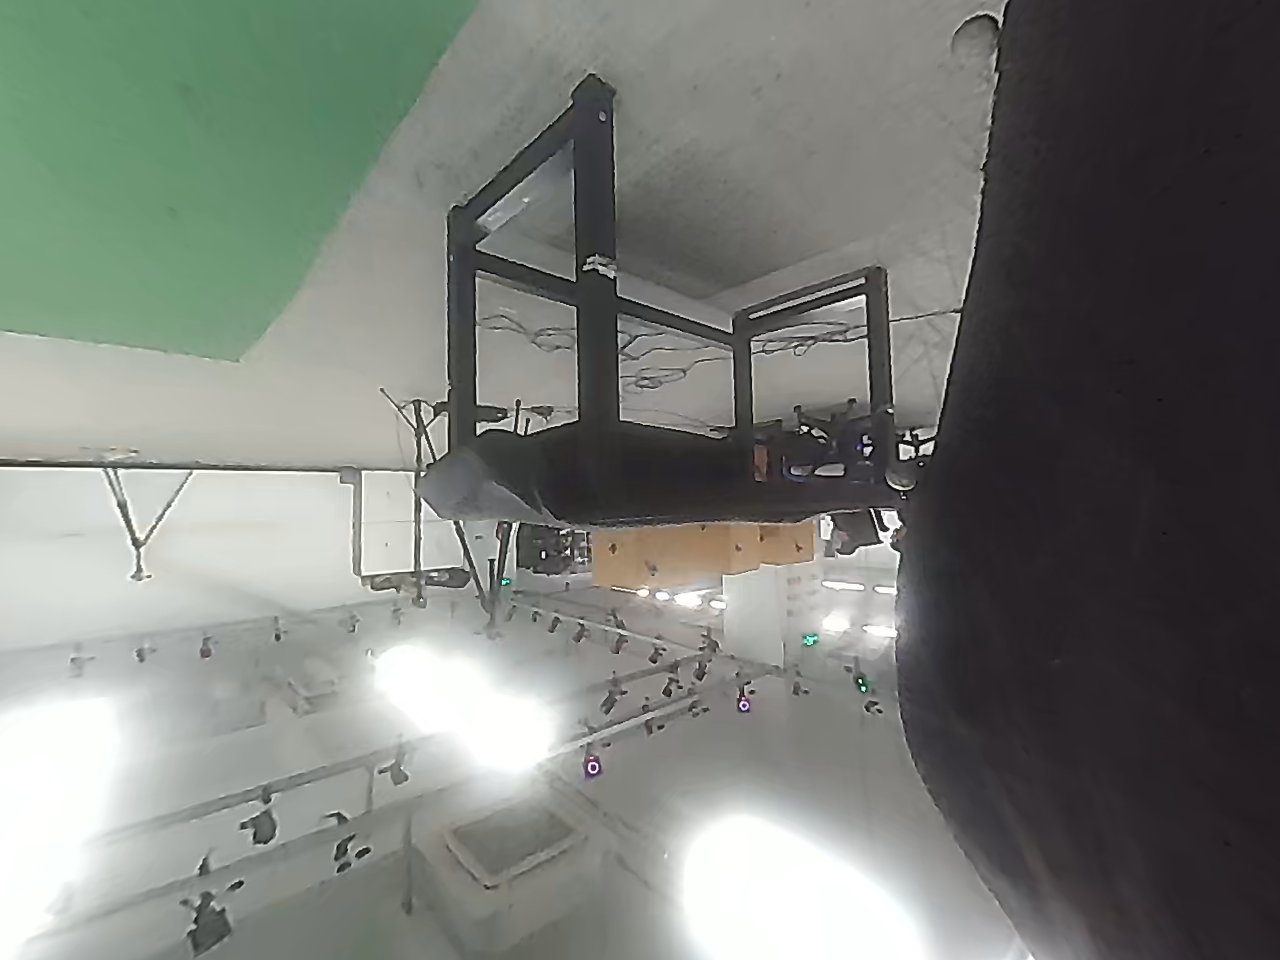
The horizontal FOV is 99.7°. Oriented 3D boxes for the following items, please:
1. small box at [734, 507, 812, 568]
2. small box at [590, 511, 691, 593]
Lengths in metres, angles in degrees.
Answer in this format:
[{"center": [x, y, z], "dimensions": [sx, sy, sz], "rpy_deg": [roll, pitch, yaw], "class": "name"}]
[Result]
[{"center": [0.398, 0.170, 1.631], "dimensions": [0.179, 0.176, 0.168], "rpy_deg": [1, 177, -38], "class": "small box"}, {"center": [0.000, 0.160, 1.247], "dimensions": [0.179, 0.176, 0.168], "rpy_deg": [1, 177, -41], "class": "small box"}]
